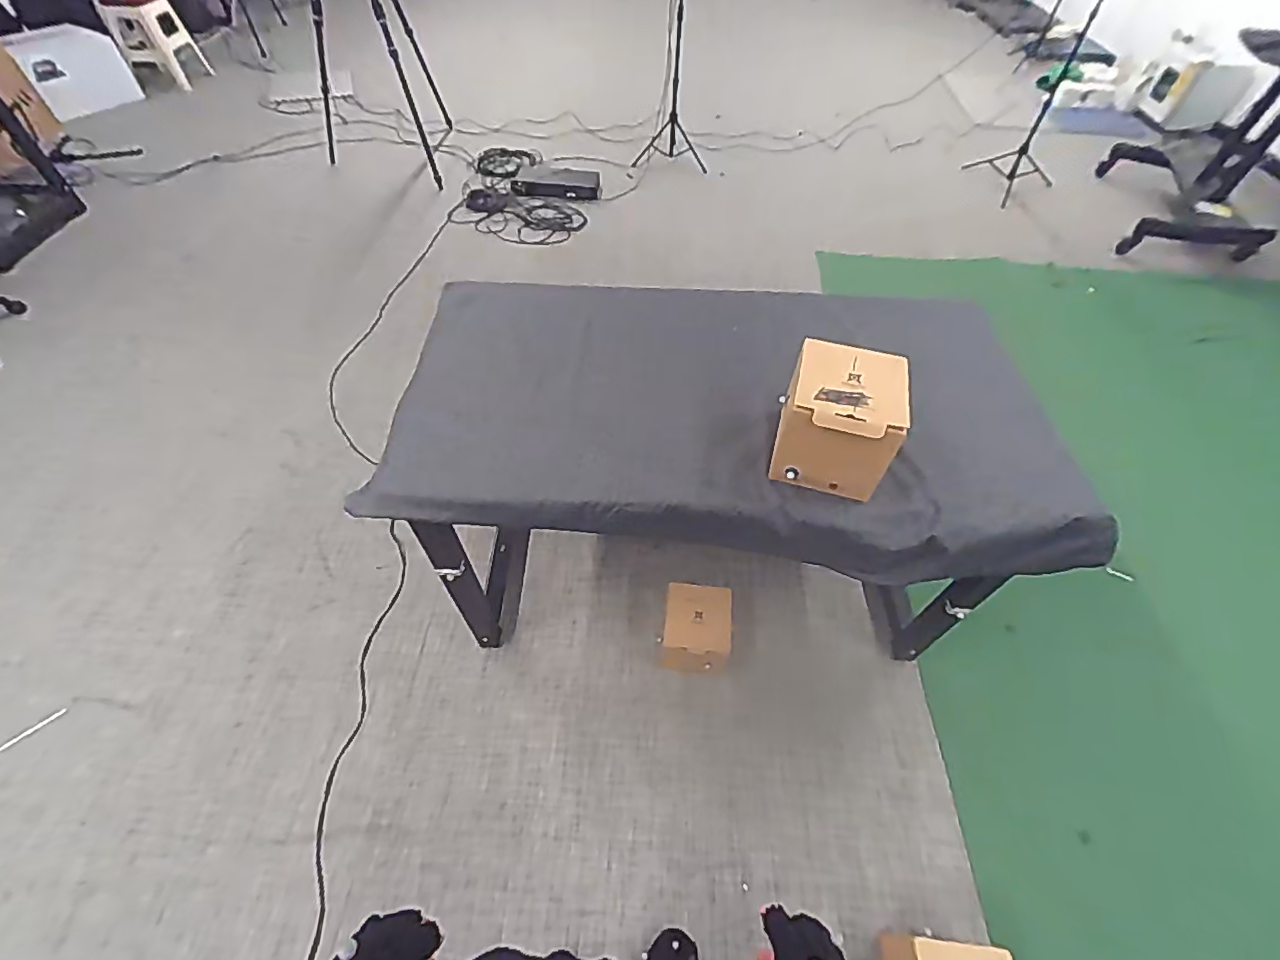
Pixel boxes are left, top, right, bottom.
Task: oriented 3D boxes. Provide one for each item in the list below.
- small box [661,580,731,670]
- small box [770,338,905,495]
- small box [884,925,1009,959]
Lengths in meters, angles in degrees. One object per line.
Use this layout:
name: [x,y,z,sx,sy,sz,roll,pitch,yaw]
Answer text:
small box: [0.147,0.387,1.432,0.168,0.176,0.179,6,51,2]
small box: [0.319,-0.100,0.890,0.168,0.176,0.179,14,52,10]
small box: [0.575,0.951,1.012,0.179,0.176,0.168,6,53,4]
